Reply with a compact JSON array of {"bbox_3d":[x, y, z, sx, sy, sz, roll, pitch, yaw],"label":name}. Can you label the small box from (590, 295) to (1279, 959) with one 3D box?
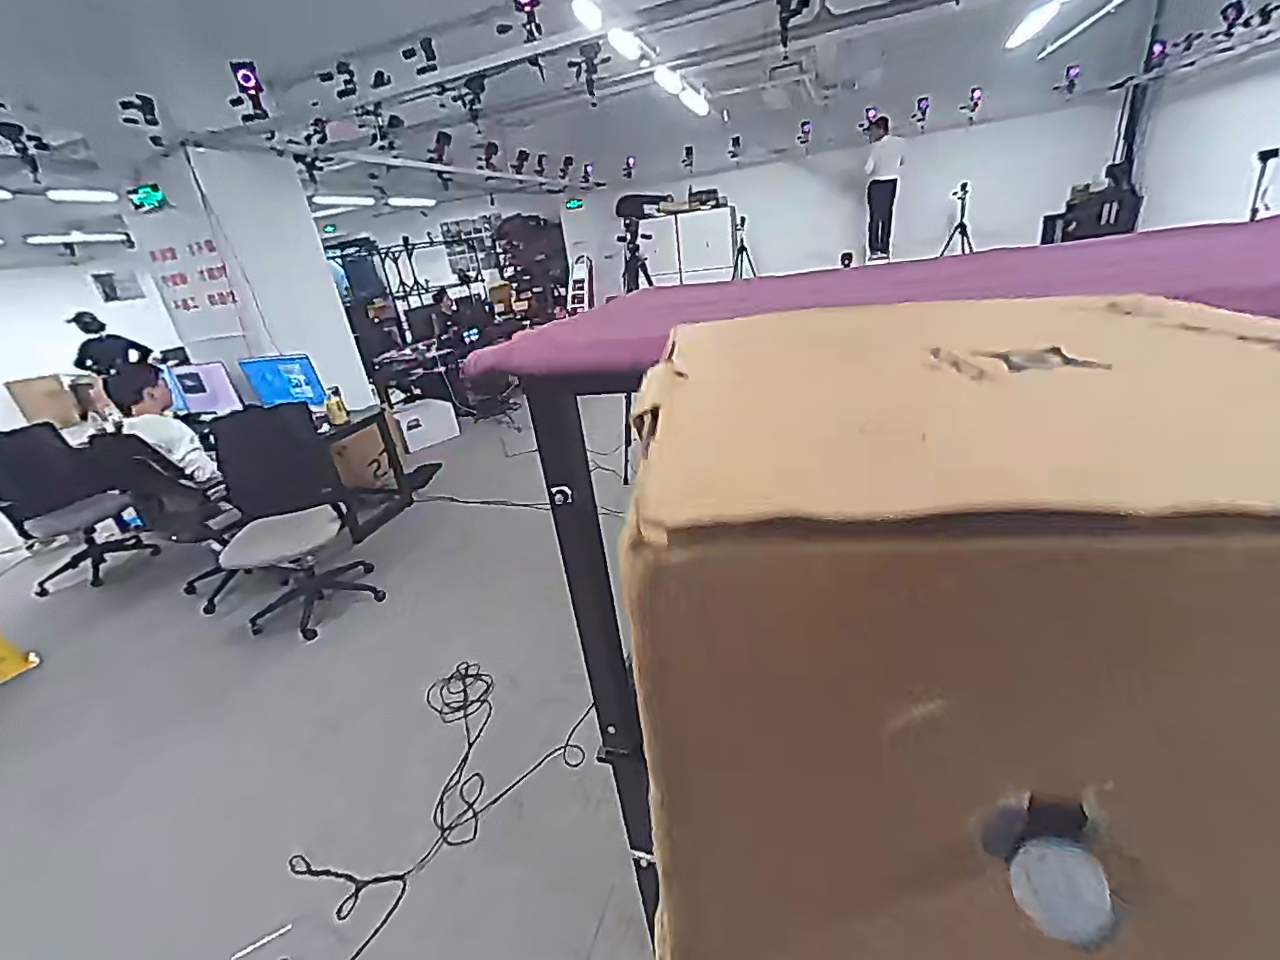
[{"bbox_3d":[0.093,0.043,0.178,0.179,0.176,0.168,-2,26,8],"label":"small box"}]
